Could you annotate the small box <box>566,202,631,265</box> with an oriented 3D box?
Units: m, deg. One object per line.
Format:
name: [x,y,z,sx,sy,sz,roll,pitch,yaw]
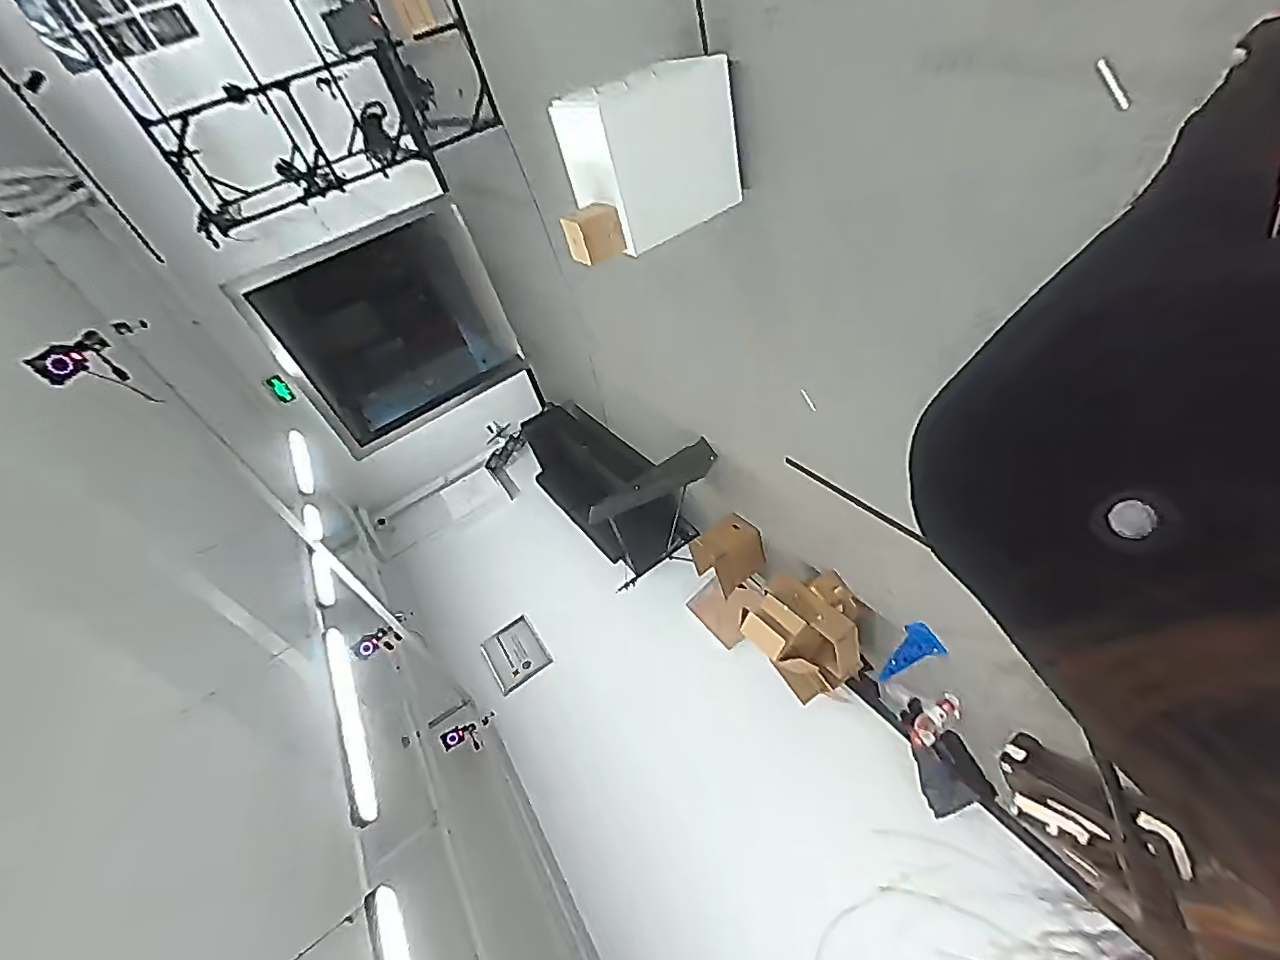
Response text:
small box: [-0.159,-0.975,2.126,0.179,0.176,0.168,42,160,46]
